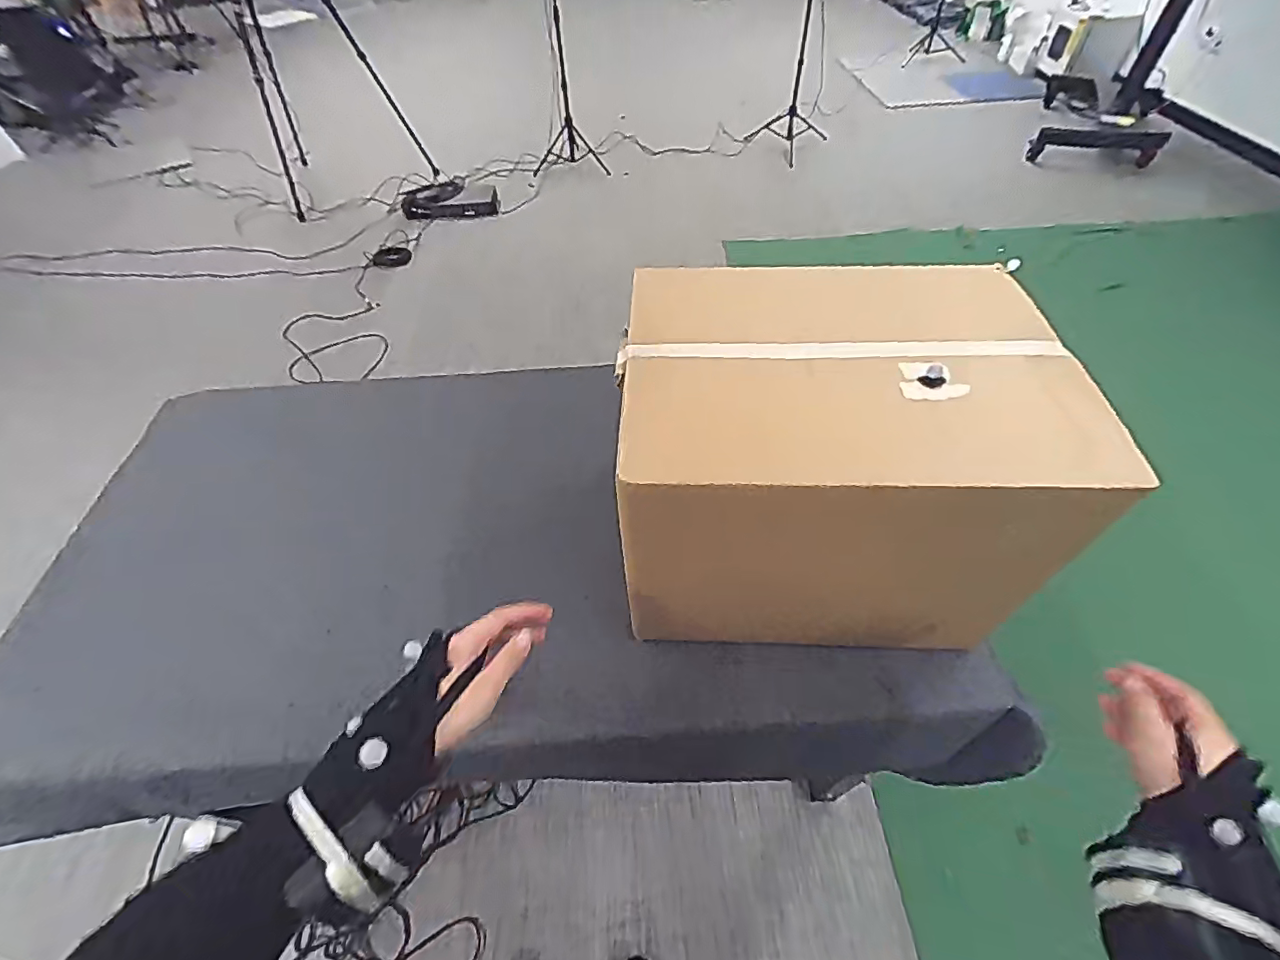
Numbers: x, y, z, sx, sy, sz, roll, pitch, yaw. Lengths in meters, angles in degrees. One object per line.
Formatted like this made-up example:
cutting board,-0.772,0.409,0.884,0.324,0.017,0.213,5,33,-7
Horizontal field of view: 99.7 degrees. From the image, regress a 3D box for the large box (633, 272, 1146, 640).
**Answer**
large box,0.196,-0.021,0.626,0.408,0.320,0.320,1,52,2
